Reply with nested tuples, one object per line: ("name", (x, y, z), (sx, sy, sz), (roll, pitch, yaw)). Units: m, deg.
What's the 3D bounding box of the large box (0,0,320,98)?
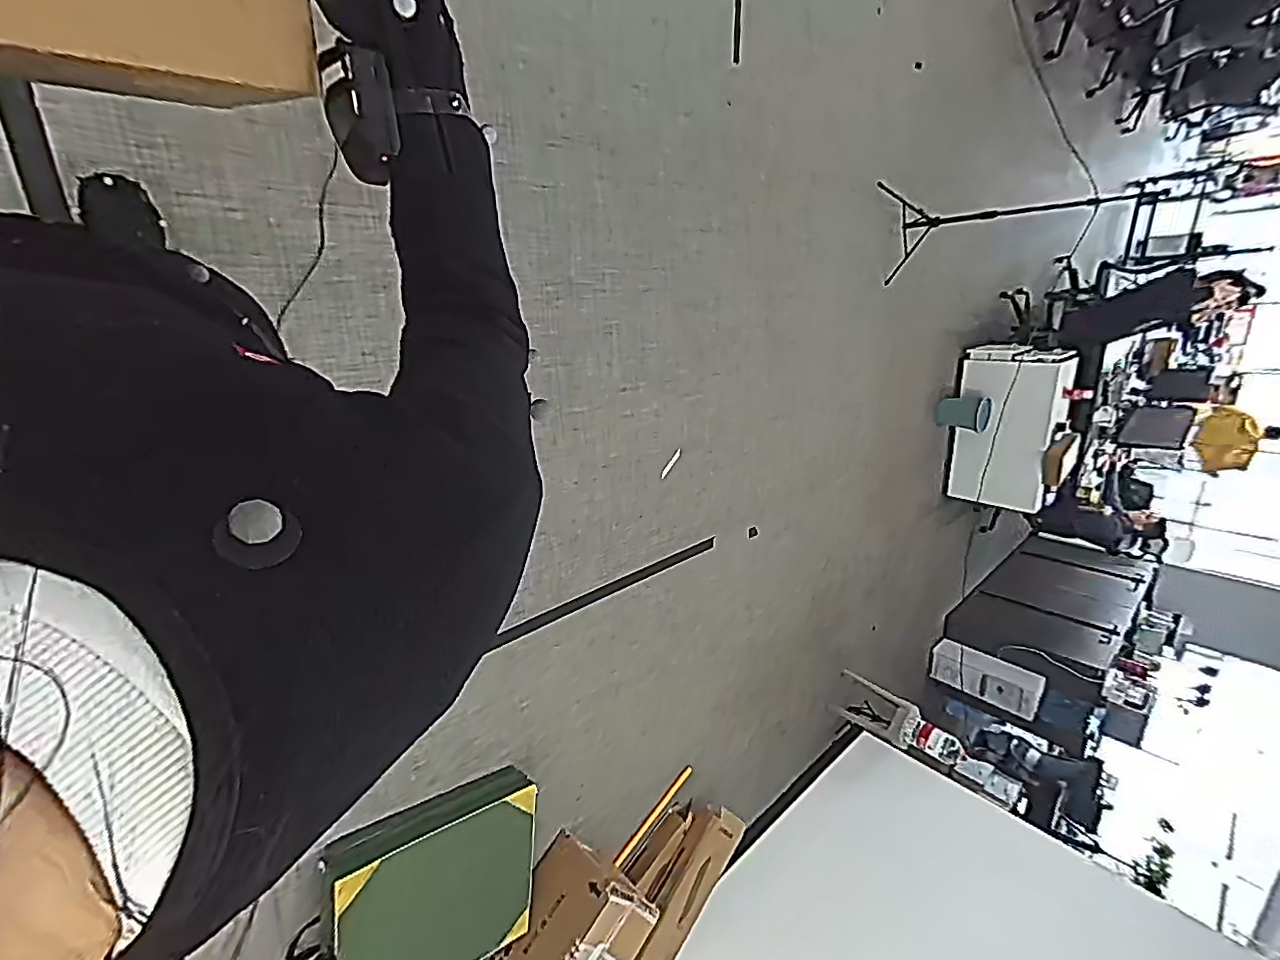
("large box", (-0.441, -0.394, 0.249), (0.408, 0.320, 0.320), (-20, 129, -39))
